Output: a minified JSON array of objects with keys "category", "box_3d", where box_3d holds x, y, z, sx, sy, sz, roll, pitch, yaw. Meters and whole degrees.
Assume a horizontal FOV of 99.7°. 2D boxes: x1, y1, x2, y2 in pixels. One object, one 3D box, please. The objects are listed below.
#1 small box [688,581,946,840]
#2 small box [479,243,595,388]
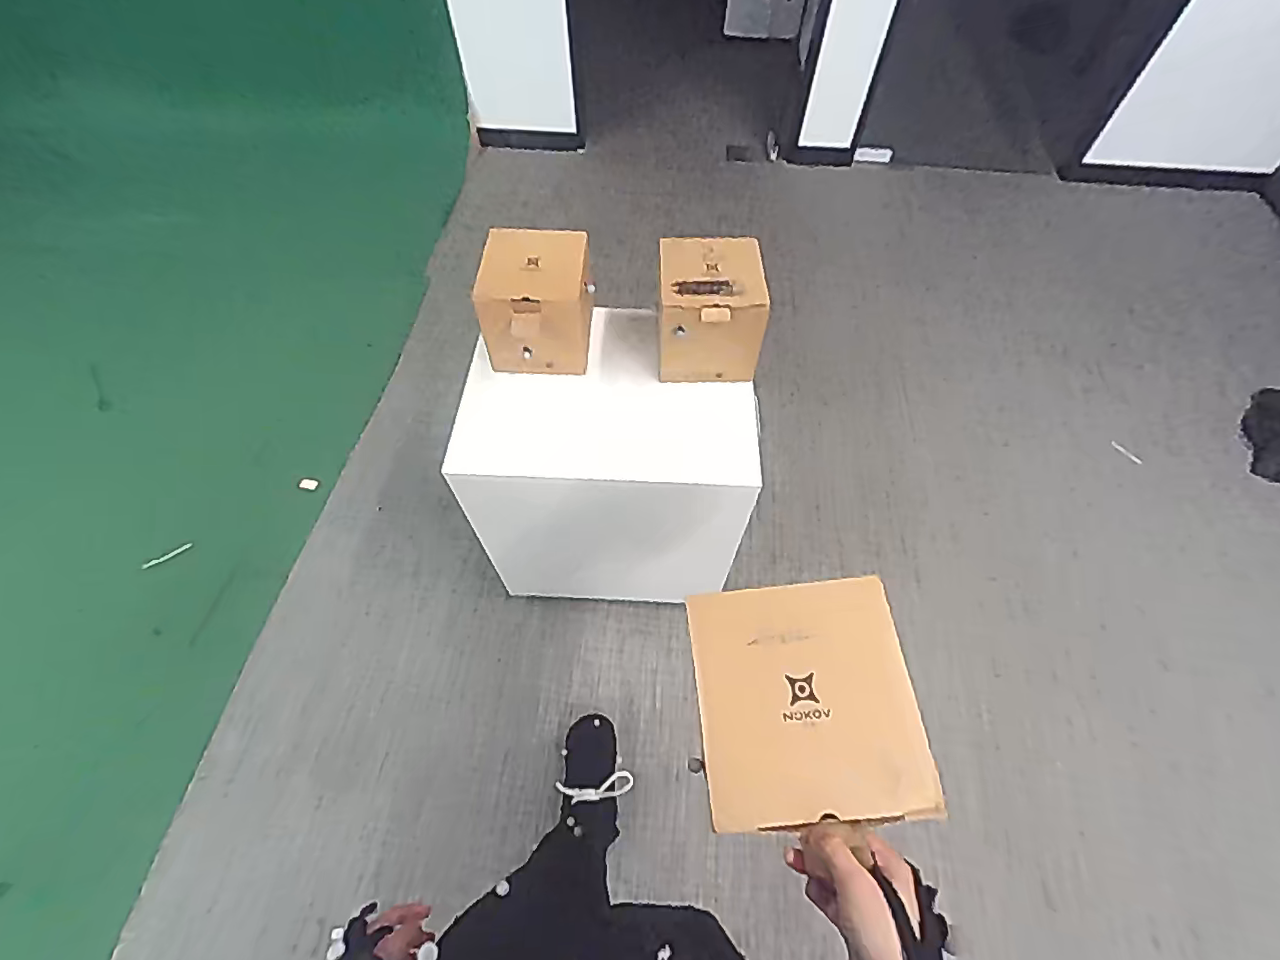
[{"category":"small box","box_3d":[0.137,0.207,0.489,0.168,0.176,0.179,-7,61,3]},{"category":"small box","box_3d":[-0.167,-0.285,0.945,0.168,0.176,0.179,2,59,0]}]
